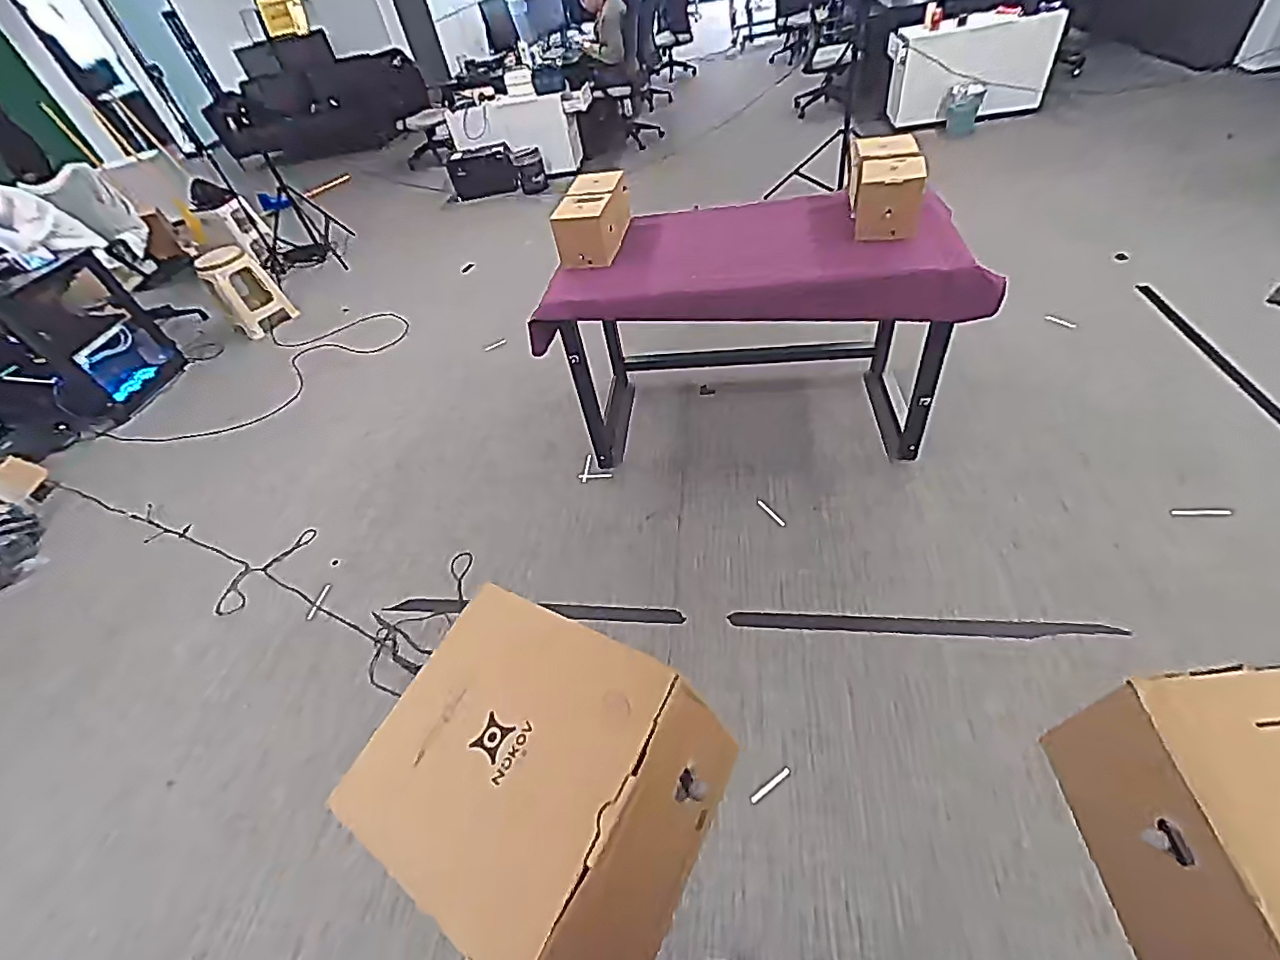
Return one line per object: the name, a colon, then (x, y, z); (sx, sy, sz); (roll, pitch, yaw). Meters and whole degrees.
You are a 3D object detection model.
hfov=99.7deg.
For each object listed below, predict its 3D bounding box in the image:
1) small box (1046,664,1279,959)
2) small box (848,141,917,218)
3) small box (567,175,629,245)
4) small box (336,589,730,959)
small box: (0.378, 0.214, 0.306); (0.168, 0.176, 0.179); (-12, 53, 11)
small box: (0.763, -0.953, 1.718); (0.168, 0.176, 0.179); (2, 47, 13)
small box: (-0.139, -0.944, 1.893); (0.168, 0.176, 0.179); (2, 48, 14)
small box: (-0.055, 0.208, 0.380); (0.179, 0.176, 0.168); (12, 57, 34)
